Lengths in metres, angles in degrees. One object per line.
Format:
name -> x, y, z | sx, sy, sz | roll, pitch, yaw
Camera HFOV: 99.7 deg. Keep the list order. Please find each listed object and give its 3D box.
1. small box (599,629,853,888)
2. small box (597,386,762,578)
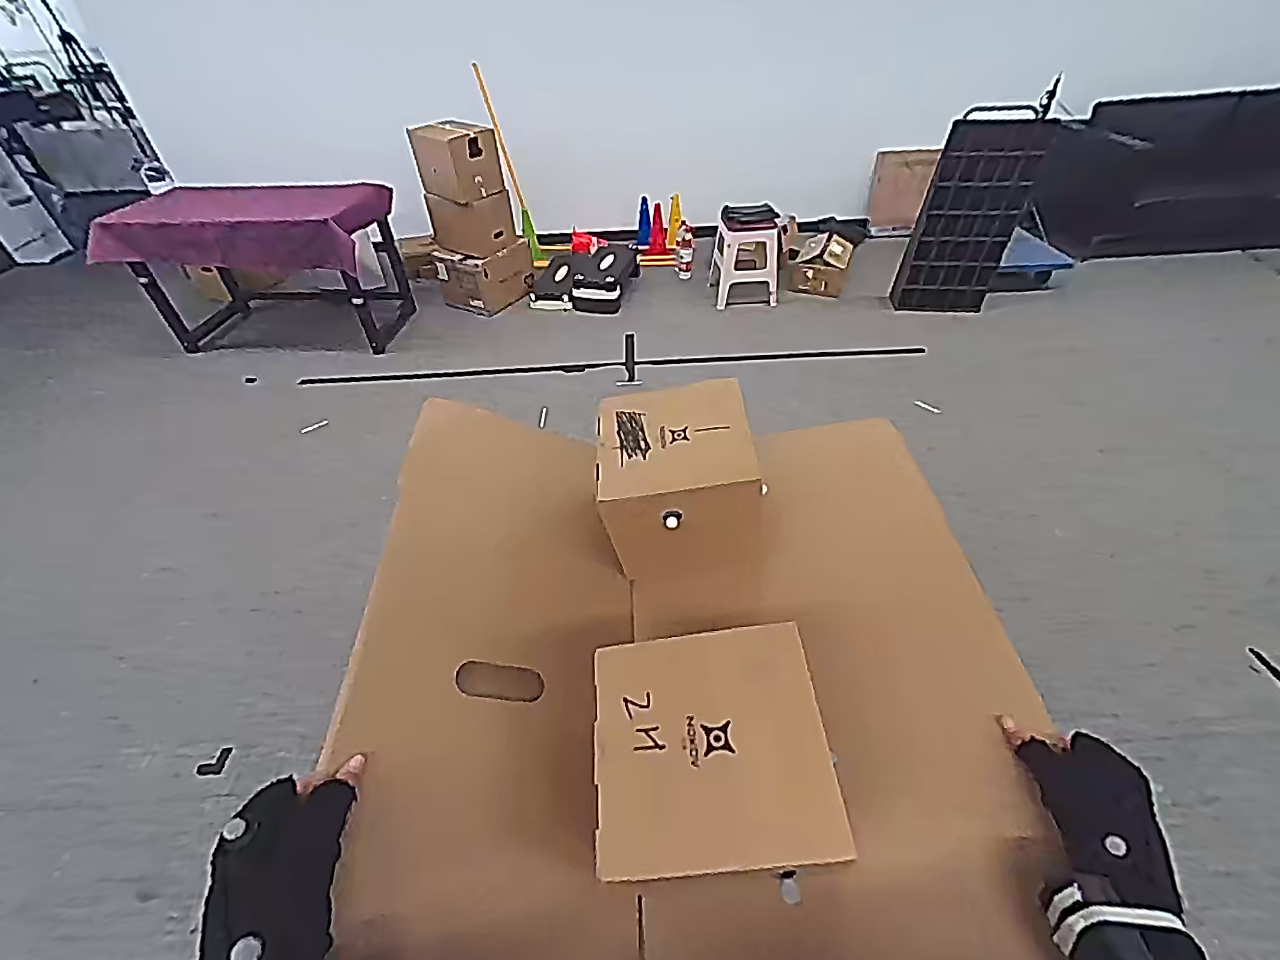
small box -> 0.069, 0.250, 0.477 | 0.179, 0.176, 0.168 | -10, 49, 7
small box -> 0.052, 0.010, 0.681 | 0.179, 0.176, 0.168 | -8, 49, 7
